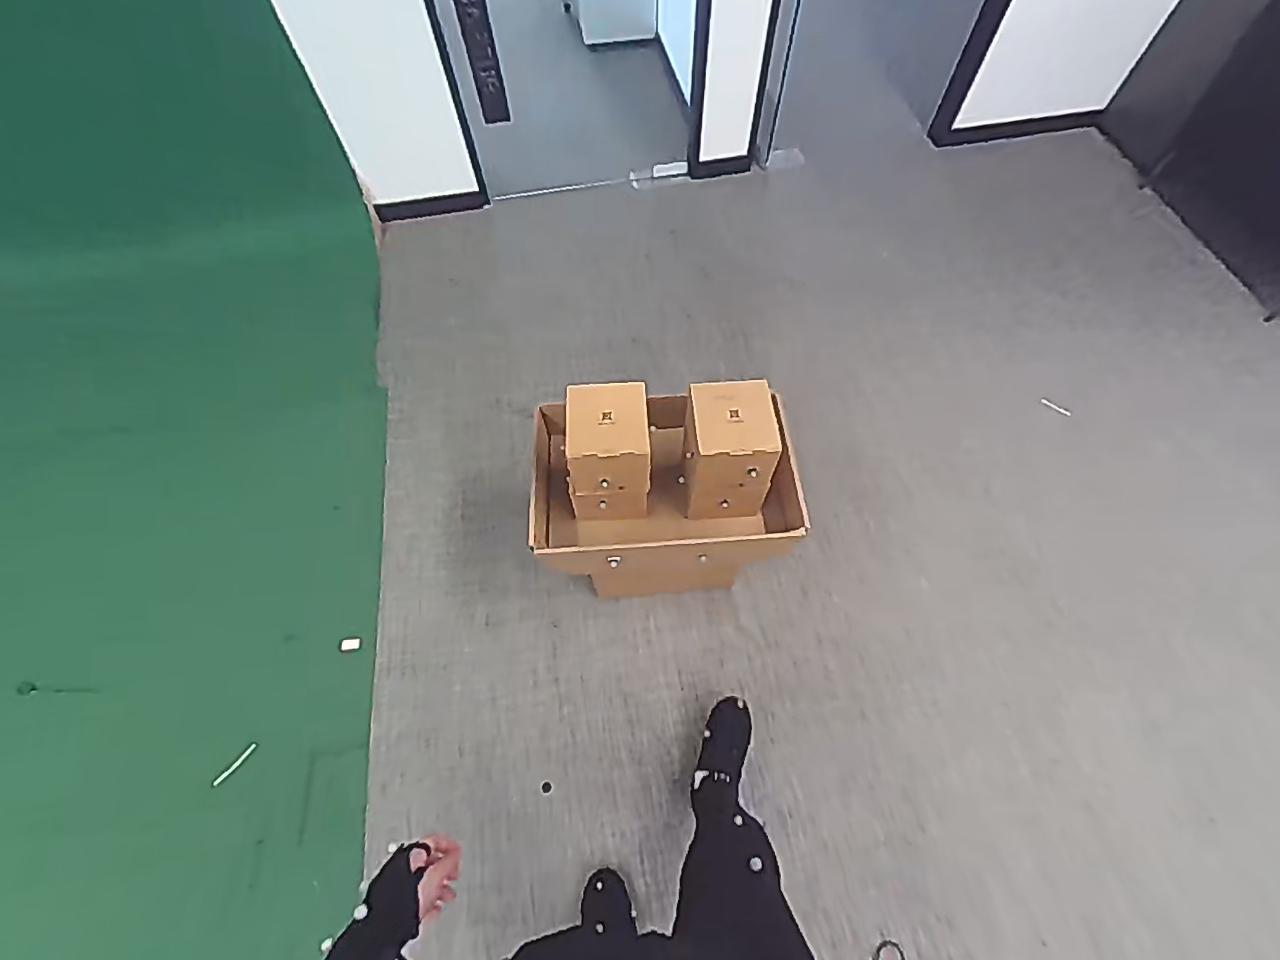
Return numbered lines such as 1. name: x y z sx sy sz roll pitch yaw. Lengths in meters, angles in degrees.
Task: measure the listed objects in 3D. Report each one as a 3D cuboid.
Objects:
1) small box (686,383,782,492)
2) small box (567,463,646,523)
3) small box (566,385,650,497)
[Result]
1. small box: 0.189 -0.083 1.145 0.168 0.176 0.179 -2 61 -2
2. small box: -0.075 -0.004 1.294 0.179 0.176 0.168 -2 61 -1
3. small box: -0.067 -0.080 1.149 0.168 0.176 0.179 -3 62 -2
